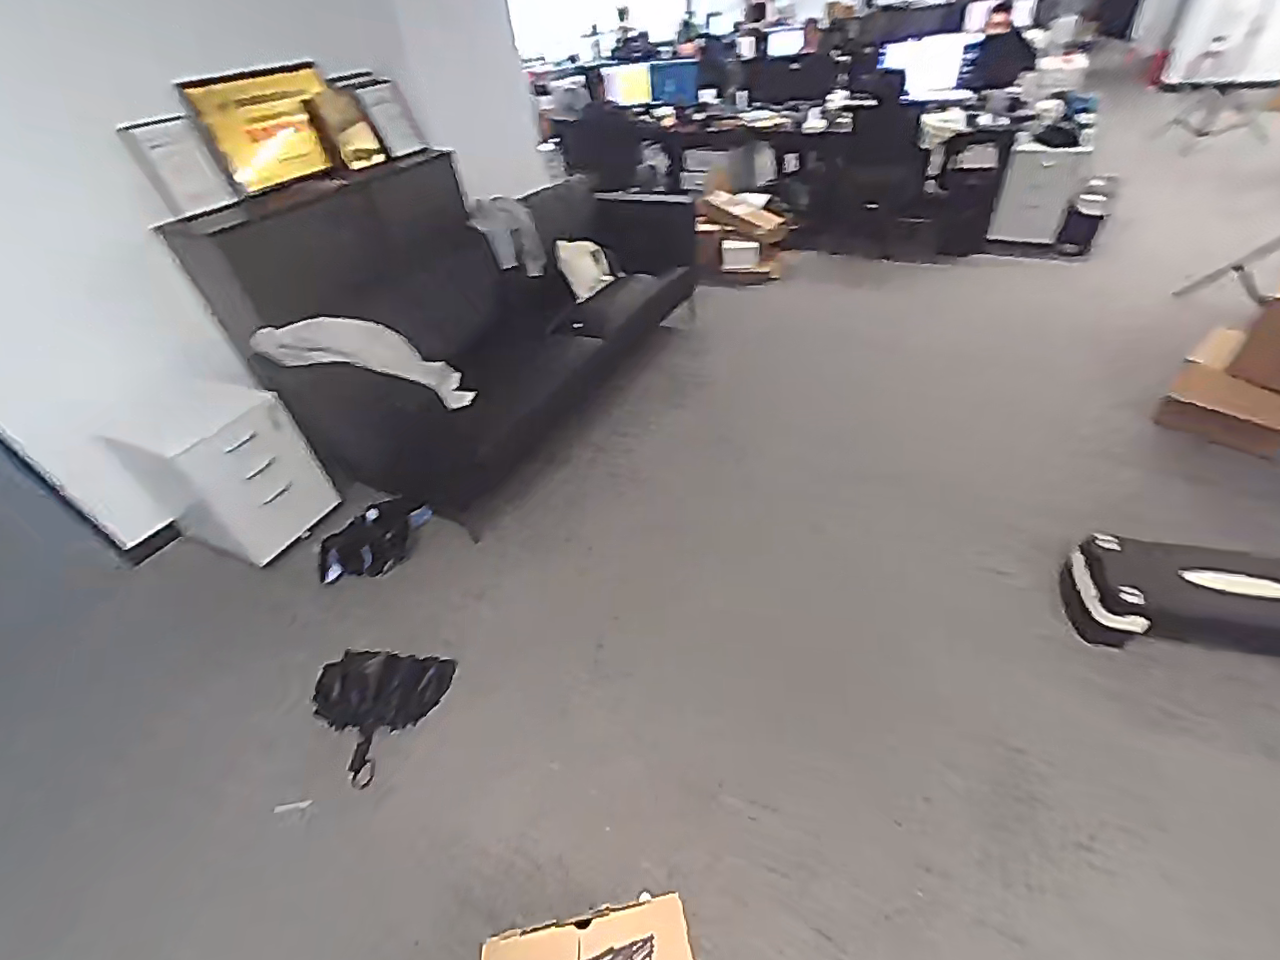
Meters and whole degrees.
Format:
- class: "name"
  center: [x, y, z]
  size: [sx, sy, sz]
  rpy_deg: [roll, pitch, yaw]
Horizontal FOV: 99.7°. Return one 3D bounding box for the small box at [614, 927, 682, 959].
- class: "small box"
  center: [0.016, 1.042, 1.069]
  size: [0.168, 0.176, 0.179]
  rpy_deg: [14, 47, 23]
